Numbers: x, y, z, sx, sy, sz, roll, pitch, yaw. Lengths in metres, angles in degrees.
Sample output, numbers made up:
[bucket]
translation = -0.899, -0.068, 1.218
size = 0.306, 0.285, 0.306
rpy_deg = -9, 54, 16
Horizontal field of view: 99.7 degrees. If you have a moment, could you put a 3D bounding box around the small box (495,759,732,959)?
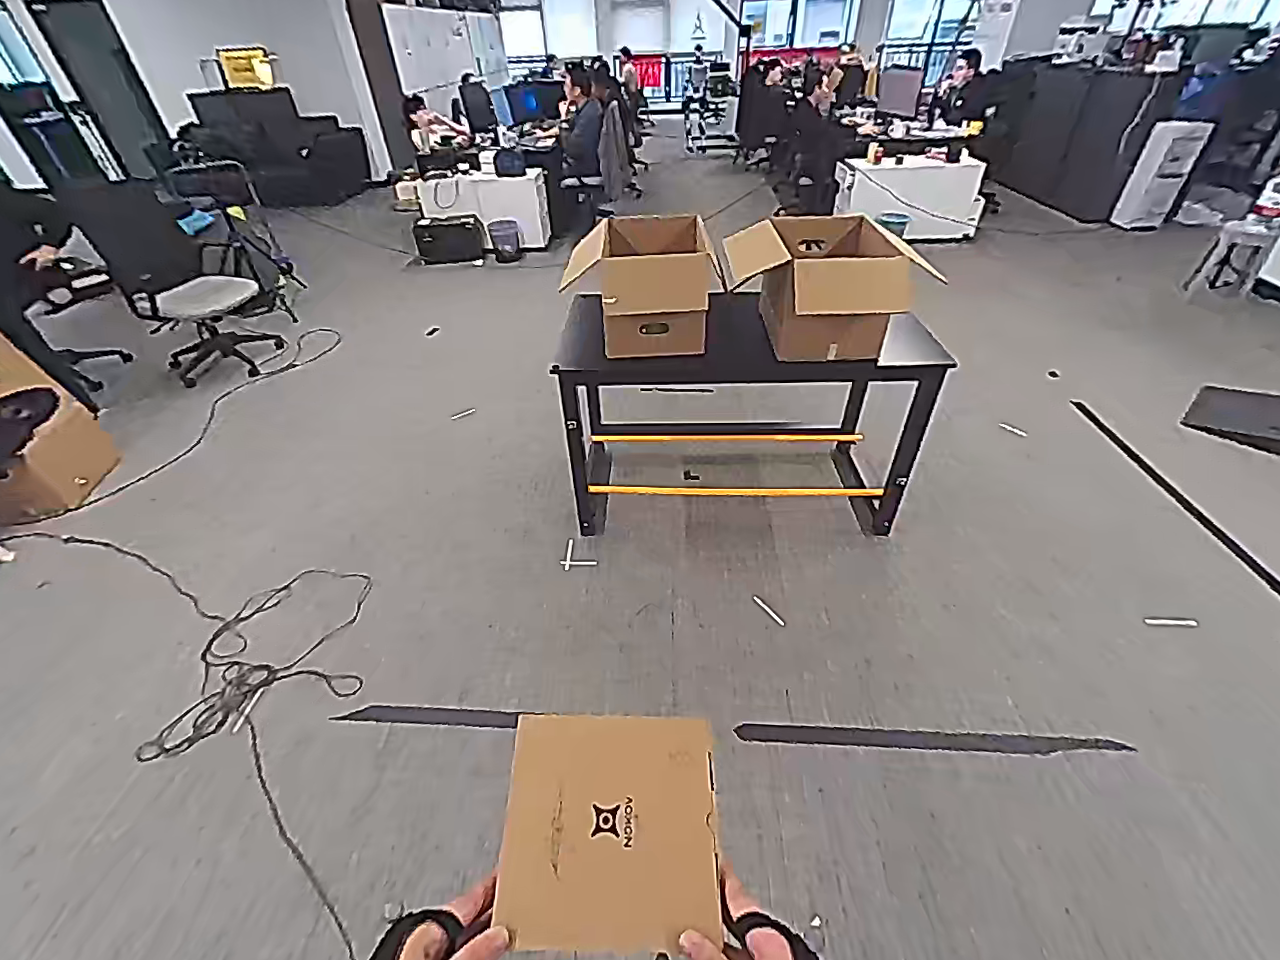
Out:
[small box]
translation = -0.020, 0.360, 0.490
size = 0.179, 0.176, 0.168
rpy_deg = -1, 51, 0
